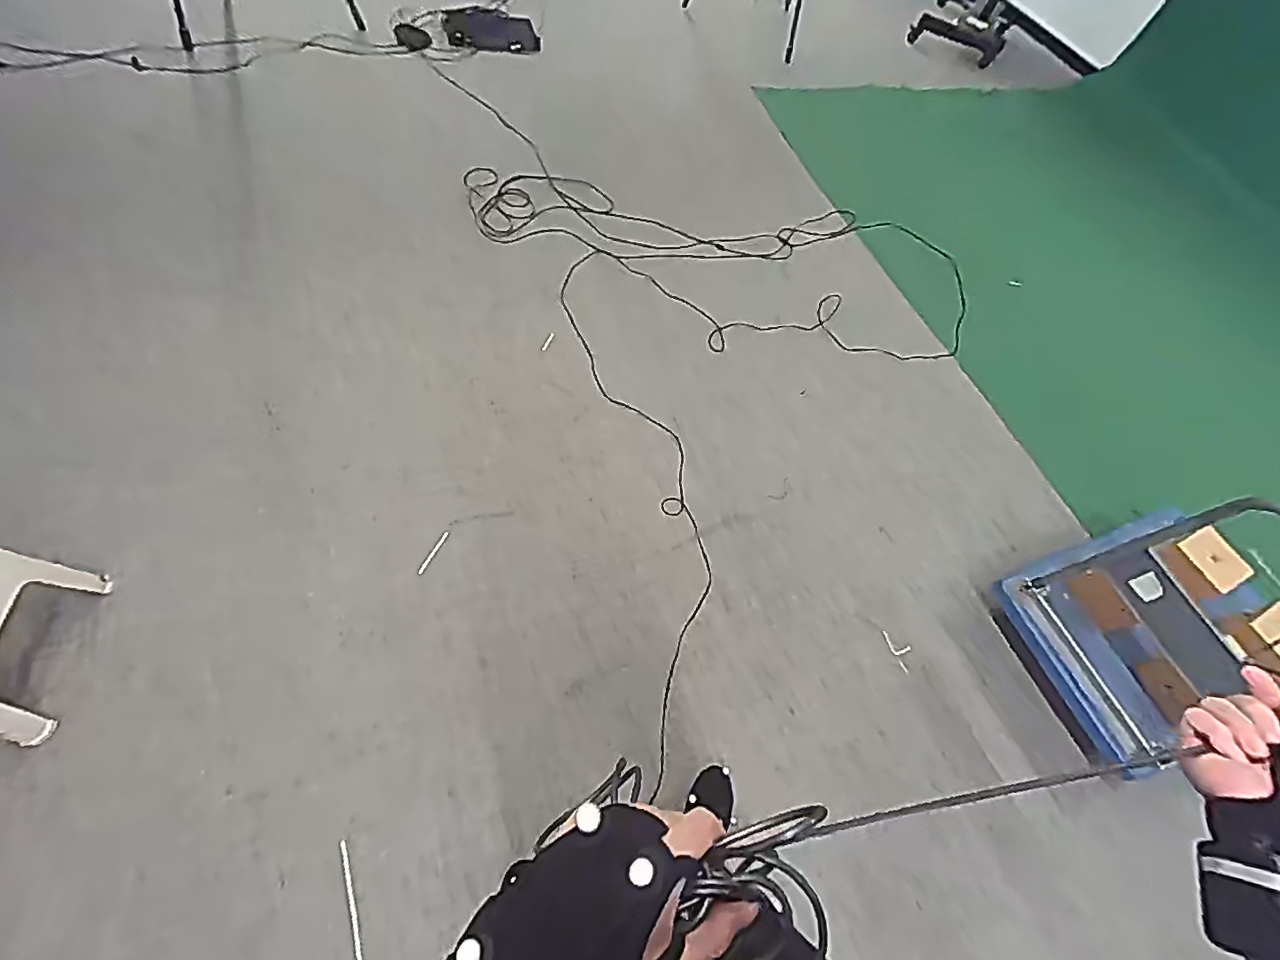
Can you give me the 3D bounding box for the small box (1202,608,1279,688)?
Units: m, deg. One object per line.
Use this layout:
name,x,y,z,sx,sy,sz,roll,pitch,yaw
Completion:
small box,1.772,0.476,1.526,0.179,0.176,0.168,-19,65,-18

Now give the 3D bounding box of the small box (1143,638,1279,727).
small box,1.524,0.544,1.446,0.179,0.176,0.168,-15,64,-16

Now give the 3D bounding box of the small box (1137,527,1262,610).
small box,1.665,0.271,1.625,0.179,0.176,0.168,-19,66,-19
